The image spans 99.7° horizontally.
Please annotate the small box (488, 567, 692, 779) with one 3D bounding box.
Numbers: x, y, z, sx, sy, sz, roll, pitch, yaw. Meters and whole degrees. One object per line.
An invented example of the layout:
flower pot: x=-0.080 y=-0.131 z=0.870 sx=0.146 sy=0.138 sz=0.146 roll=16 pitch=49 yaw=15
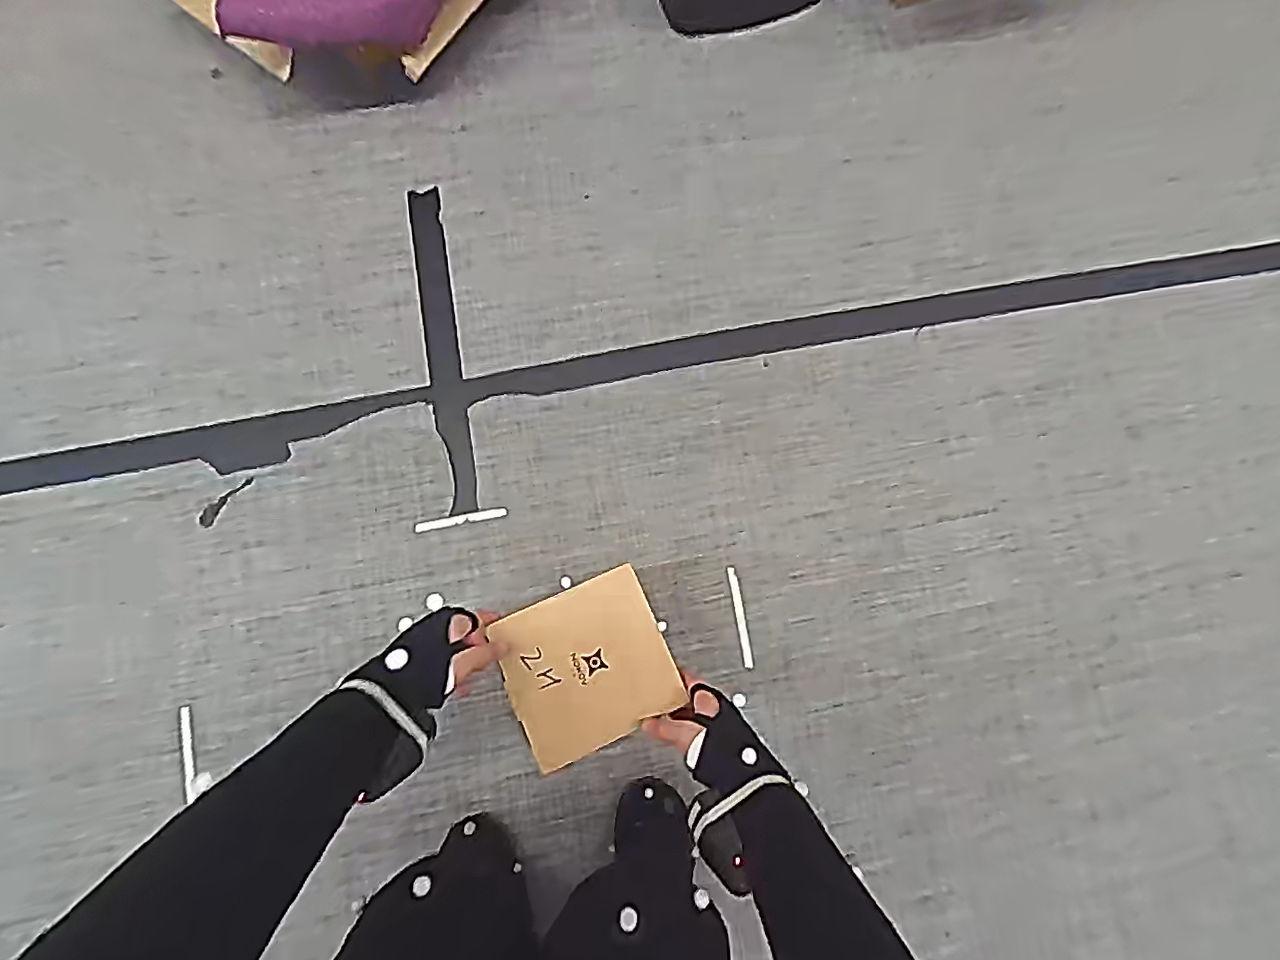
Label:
small box: x=-0.061 y=0.215 z=0.650 sx=0.179 sy=0.176 sz=0.168 roll=-23 pitch=80 yaw=-9
